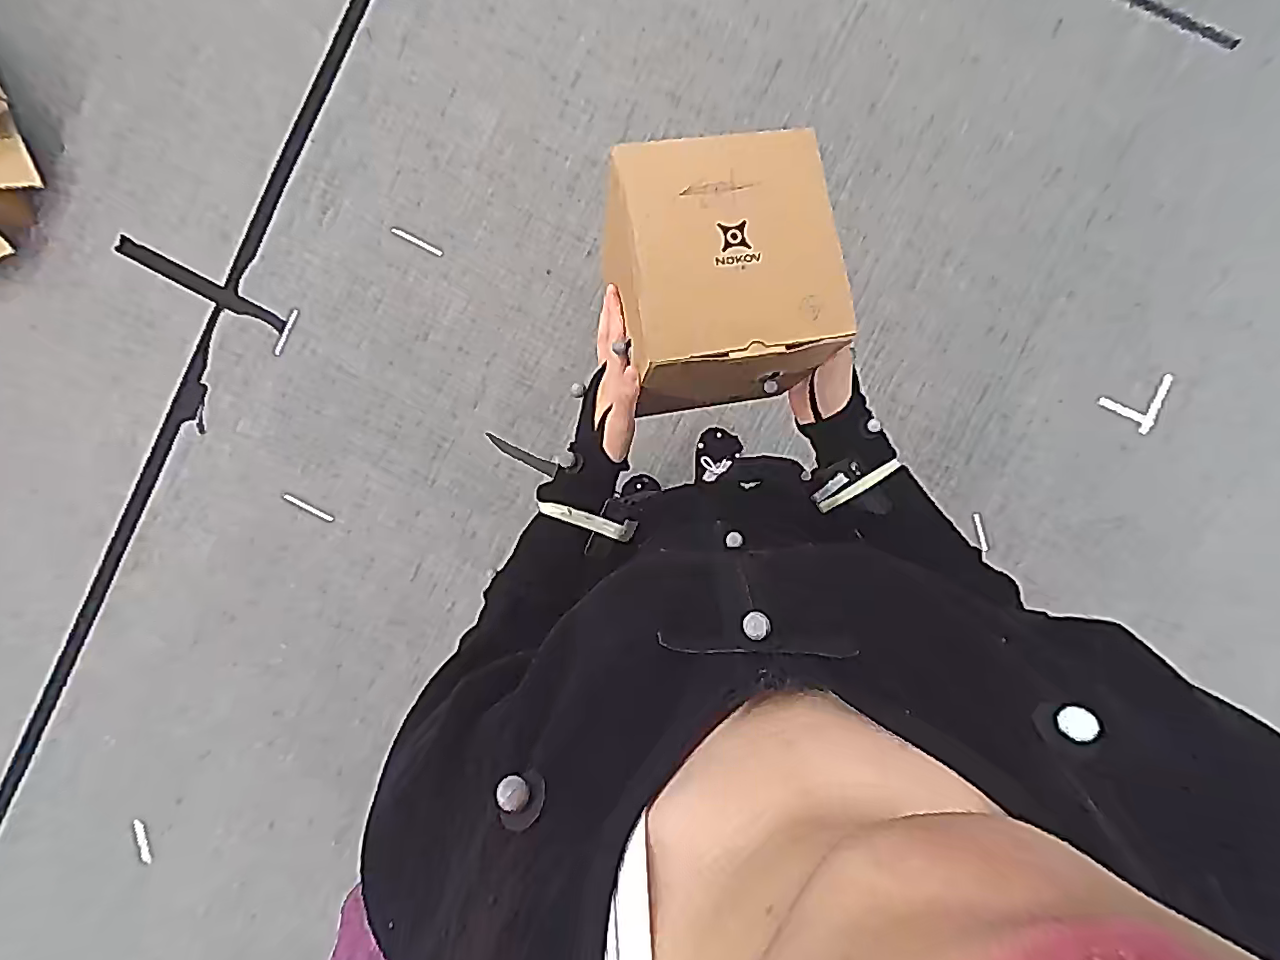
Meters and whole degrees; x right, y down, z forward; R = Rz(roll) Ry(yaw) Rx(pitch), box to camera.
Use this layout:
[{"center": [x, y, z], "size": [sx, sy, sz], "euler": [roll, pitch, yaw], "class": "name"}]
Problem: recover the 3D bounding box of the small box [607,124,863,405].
[{"center": [0.066, -0.172, 0.483], "size": [0.168, 0.176, 0.179], "euler": [-10, 84, -8], "class": "small box"}]
